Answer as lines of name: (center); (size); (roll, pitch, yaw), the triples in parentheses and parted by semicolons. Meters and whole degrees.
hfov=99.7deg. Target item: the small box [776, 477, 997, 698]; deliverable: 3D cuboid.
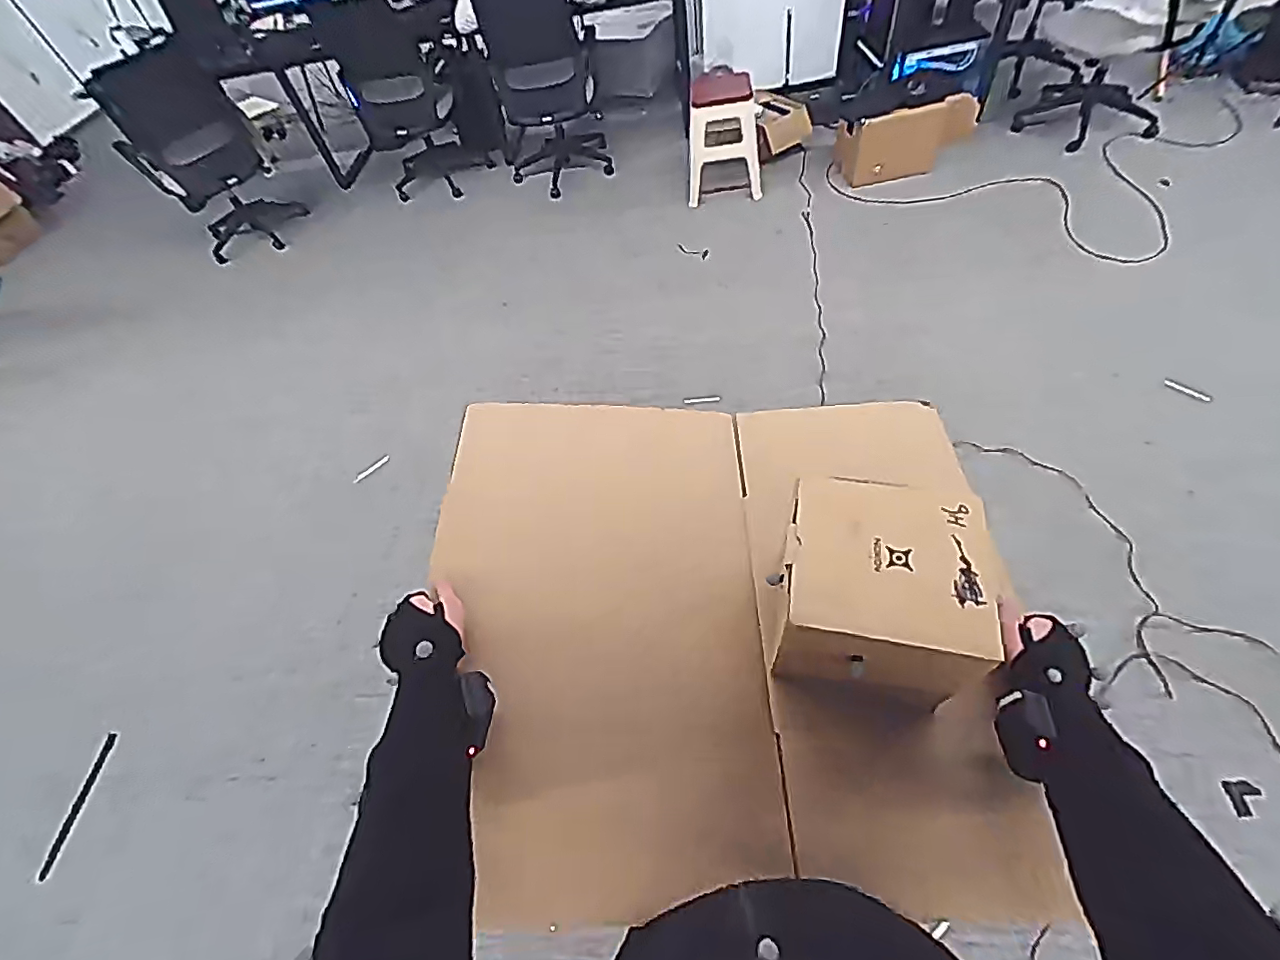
small box: (0.243, 0.118, 0.576); (0.179, 0.176, 0.168); (7, 57, 13)
